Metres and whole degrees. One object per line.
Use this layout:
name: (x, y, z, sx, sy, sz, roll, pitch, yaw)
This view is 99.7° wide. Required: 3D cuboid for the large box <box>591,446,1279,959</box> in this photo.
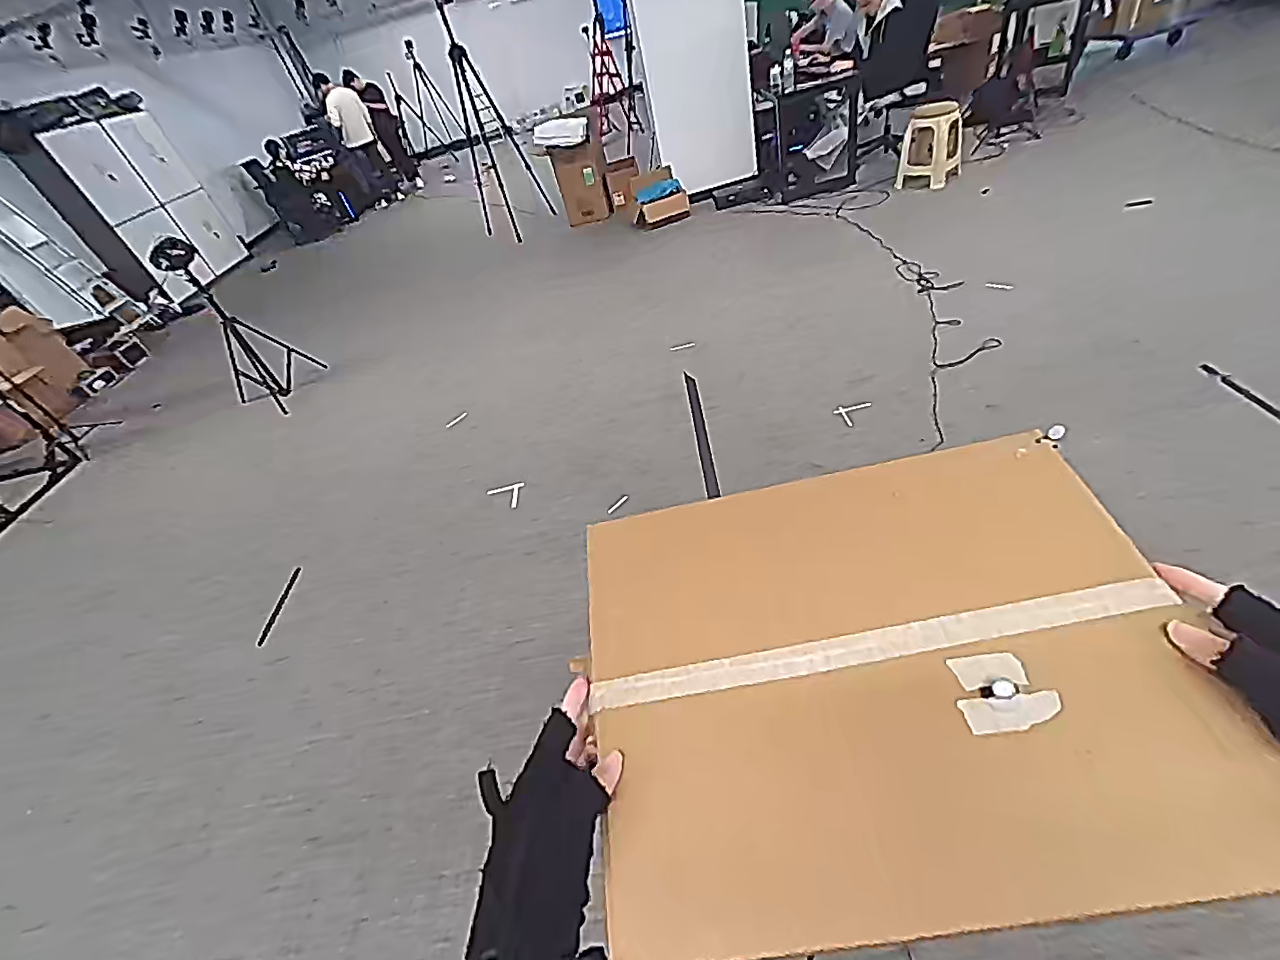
large box: (0.191, 0.219, 0.513, 0.408, 0.320, 0.320, -12, 51, 5)
